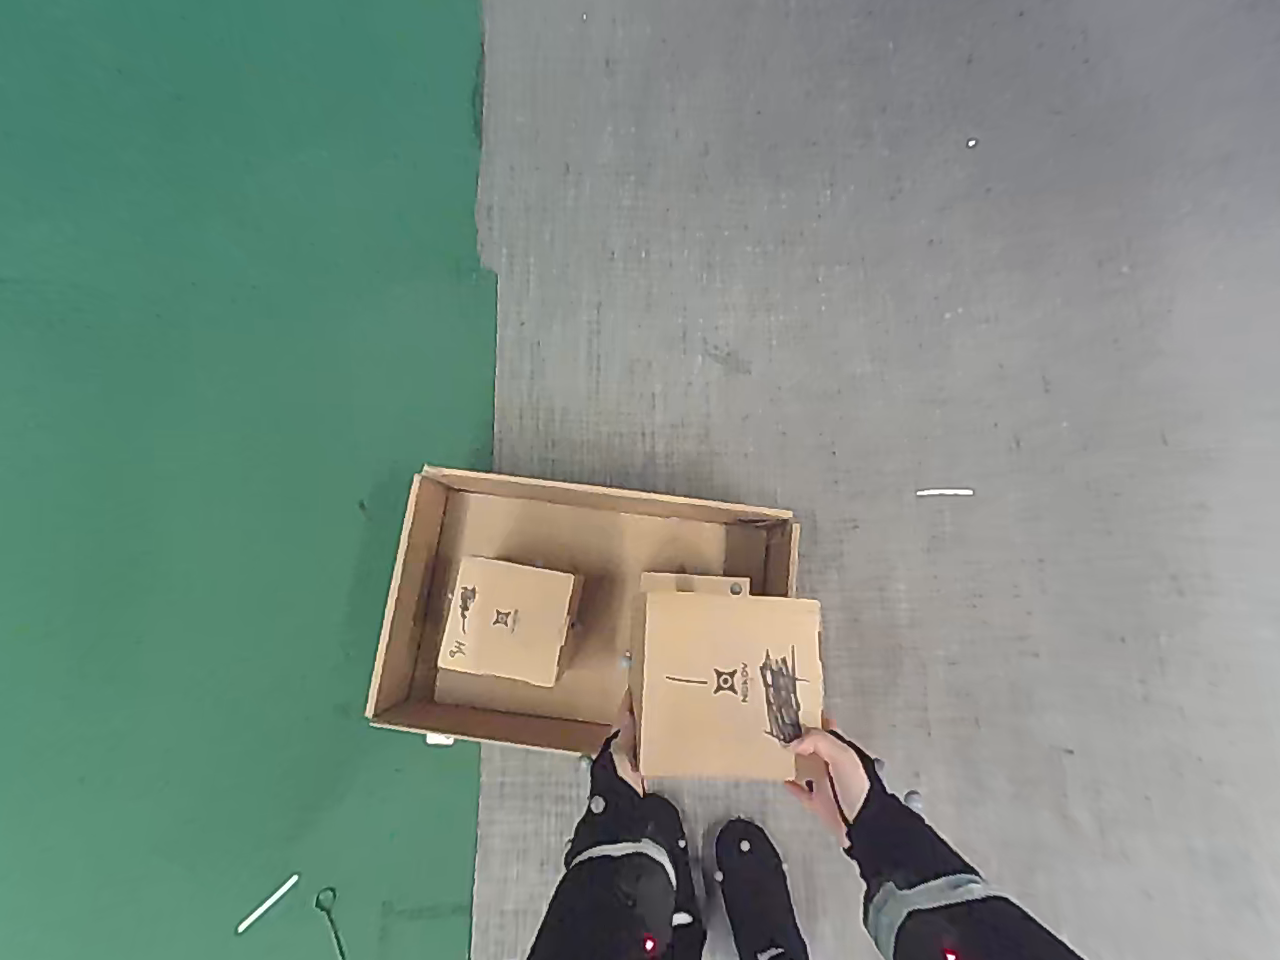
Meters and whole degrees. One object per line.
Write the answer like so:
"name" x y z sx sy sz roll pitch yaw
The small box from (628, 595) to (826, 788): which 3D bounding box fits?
"small box" 0.083 0.215 0.586 0.179 0.176 0.168 4 76 -3
